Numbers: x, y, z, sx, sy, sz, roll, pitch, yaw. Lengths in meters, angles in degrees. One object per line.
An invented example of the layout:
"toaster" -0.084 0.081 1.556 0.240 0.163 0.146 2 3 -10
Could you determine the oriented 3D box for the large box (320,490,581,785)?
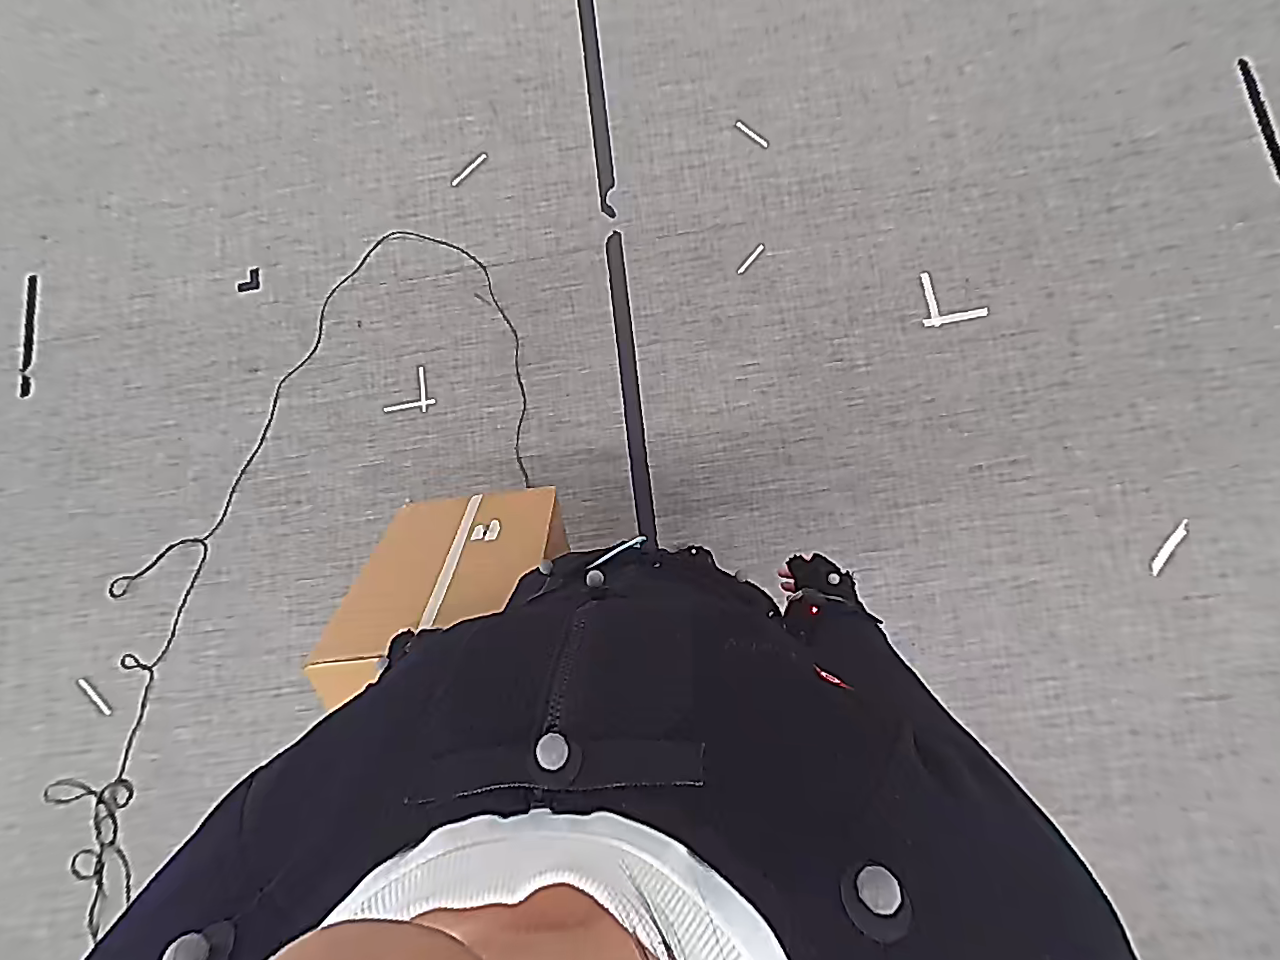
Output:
"large box" -0.290 0.265 0.988 0.320 0.408 0.320 -6 120 1
